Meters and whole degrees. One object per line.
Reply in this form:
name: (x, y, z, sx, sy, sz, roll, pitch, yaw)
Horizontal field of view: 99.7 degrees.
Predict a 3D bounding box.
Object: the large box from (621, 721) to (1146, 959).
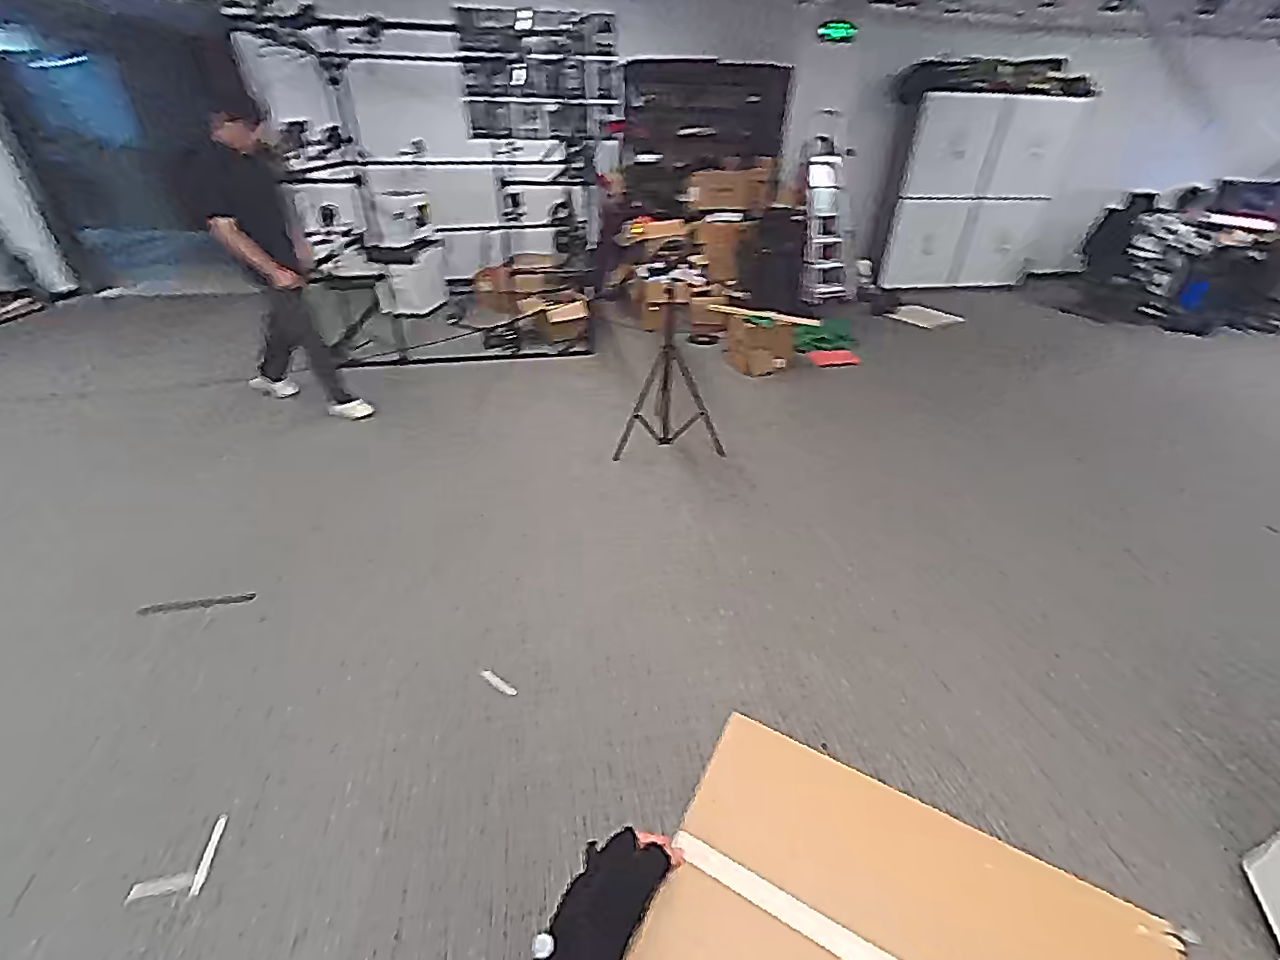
large box: (0.197, 0.529, 0.530, 0.408, 0.320, 0.320, 18, 38, 22)
